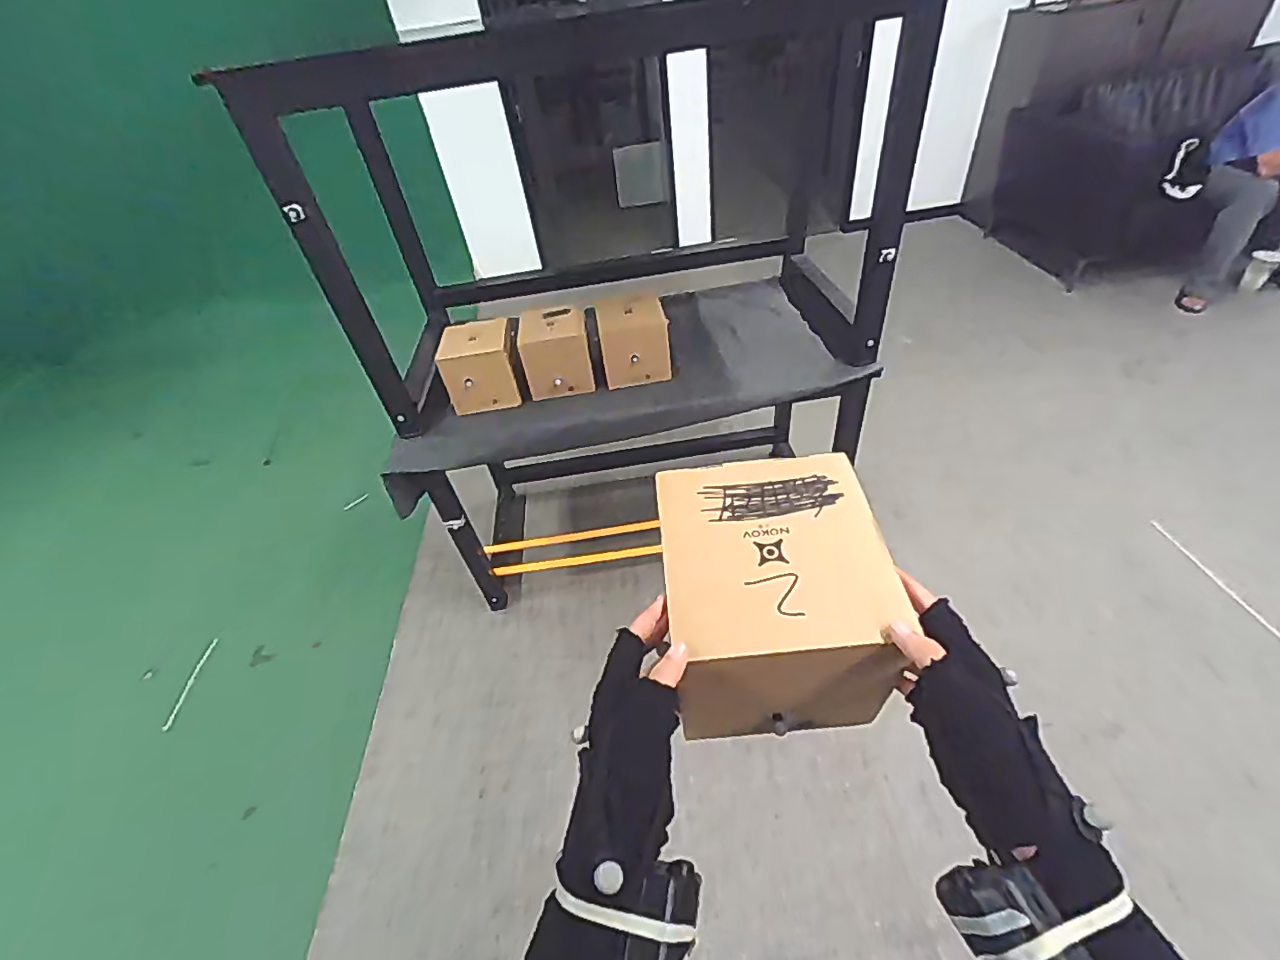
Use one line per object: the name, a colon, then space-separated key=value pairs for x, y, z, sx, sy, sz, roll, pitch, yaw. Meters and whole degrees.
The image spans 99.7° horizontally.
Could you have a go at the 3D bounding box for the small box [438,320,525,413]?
small box: x=-0.398 y=-0.286 z=1.391 sx=0.168 sy=0.176 sz=0.179 roll=-9 pitch=42 yaw=-1
